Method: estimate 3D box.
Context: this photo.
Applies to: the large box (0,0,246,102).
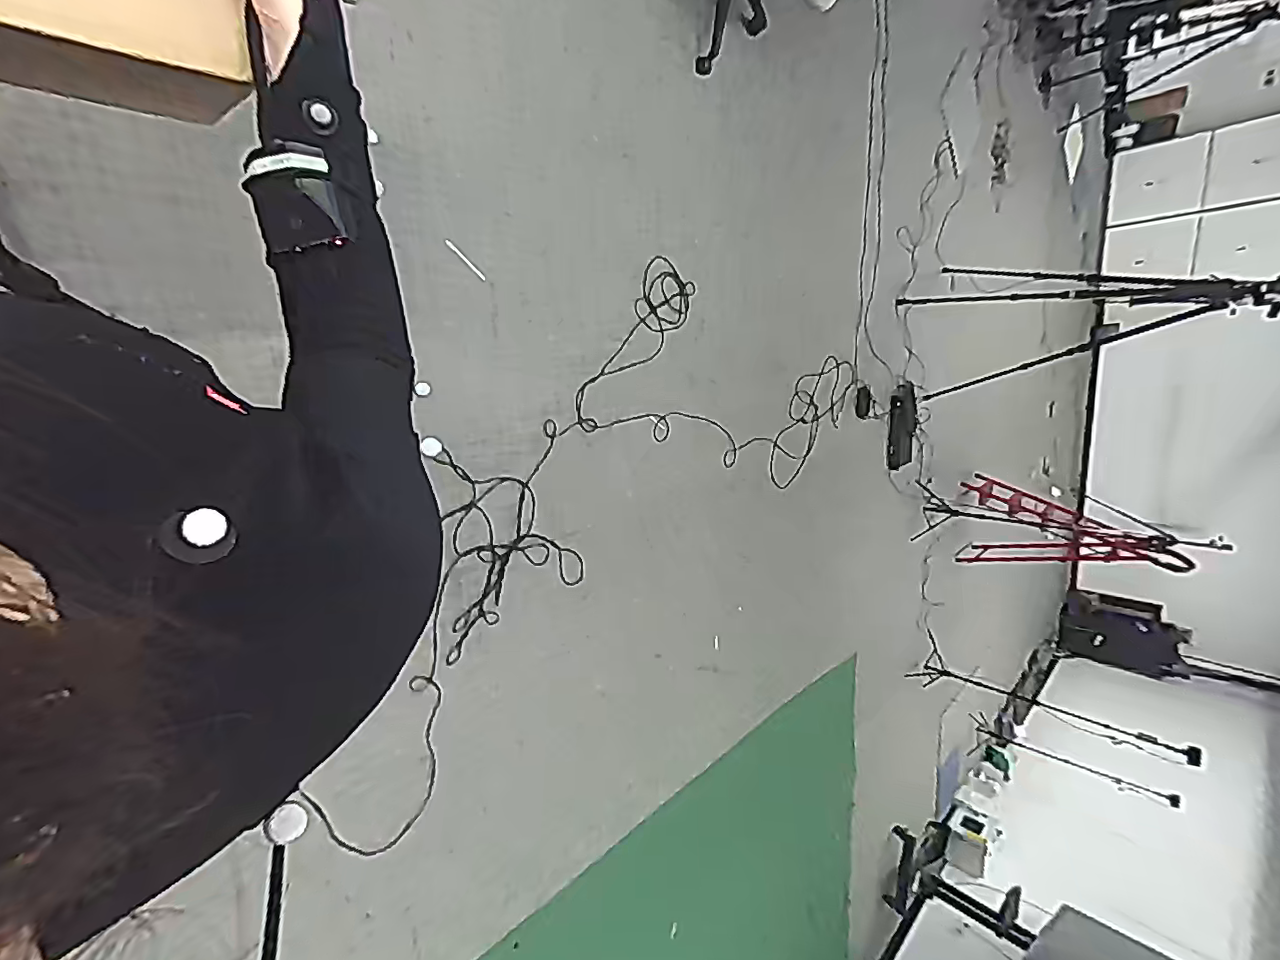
[{"bbox_3d":[-0.510,-0.454,0.309,0.408,0.320,0.320,-12,119,-38],"label":"large box"}]
